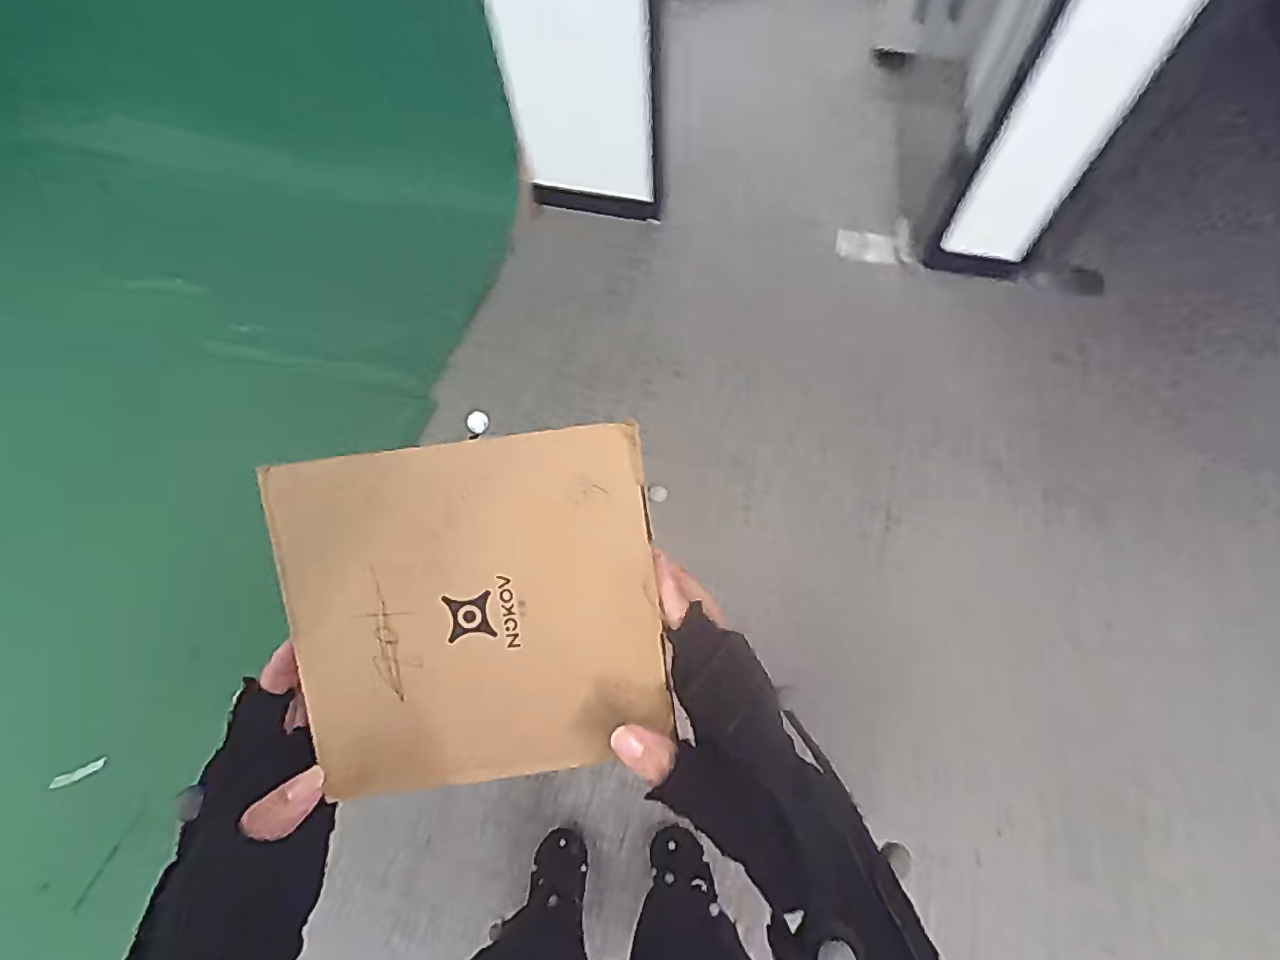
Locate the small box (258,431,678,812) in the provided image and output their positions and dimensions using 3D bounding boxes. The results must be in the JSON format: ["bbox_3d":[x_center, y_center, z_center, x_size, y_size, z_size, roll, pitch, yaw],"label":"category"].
[{"bbox_3d":[-0.083,0.062,0.339,0.179,0.176,0.168,-10,95,-1],"label":"small box"}]
